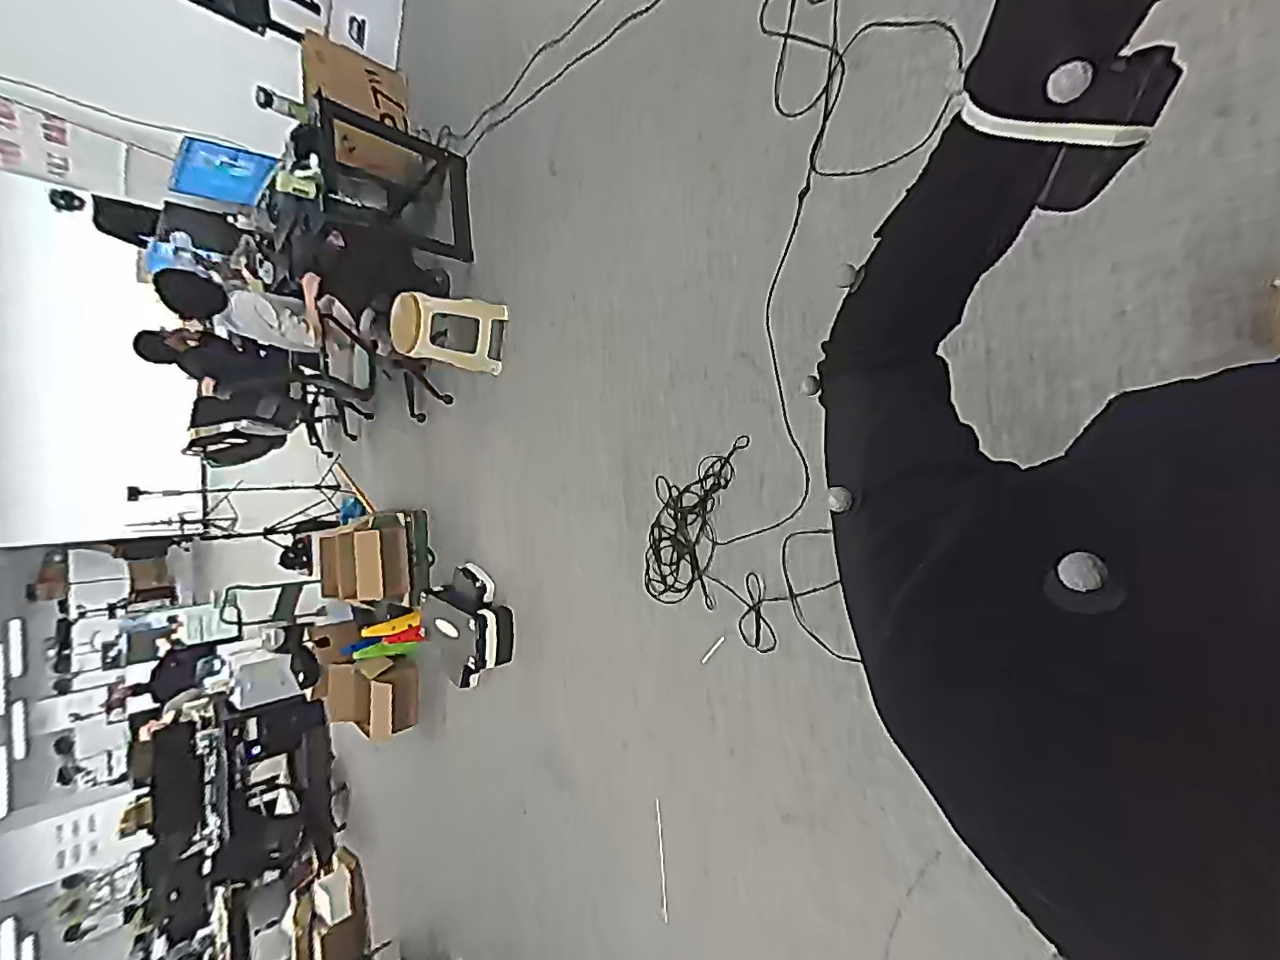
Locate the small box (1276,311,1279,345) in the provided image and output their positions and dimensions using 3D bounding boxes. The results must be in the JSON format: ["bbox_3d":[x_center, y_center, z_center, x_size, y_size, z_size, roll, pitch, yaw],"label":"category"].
[{"bbox_3d":[1.155,-0.310,0.859,0.168,0.176,0.179,8,97,45],"label":"small box"}]
